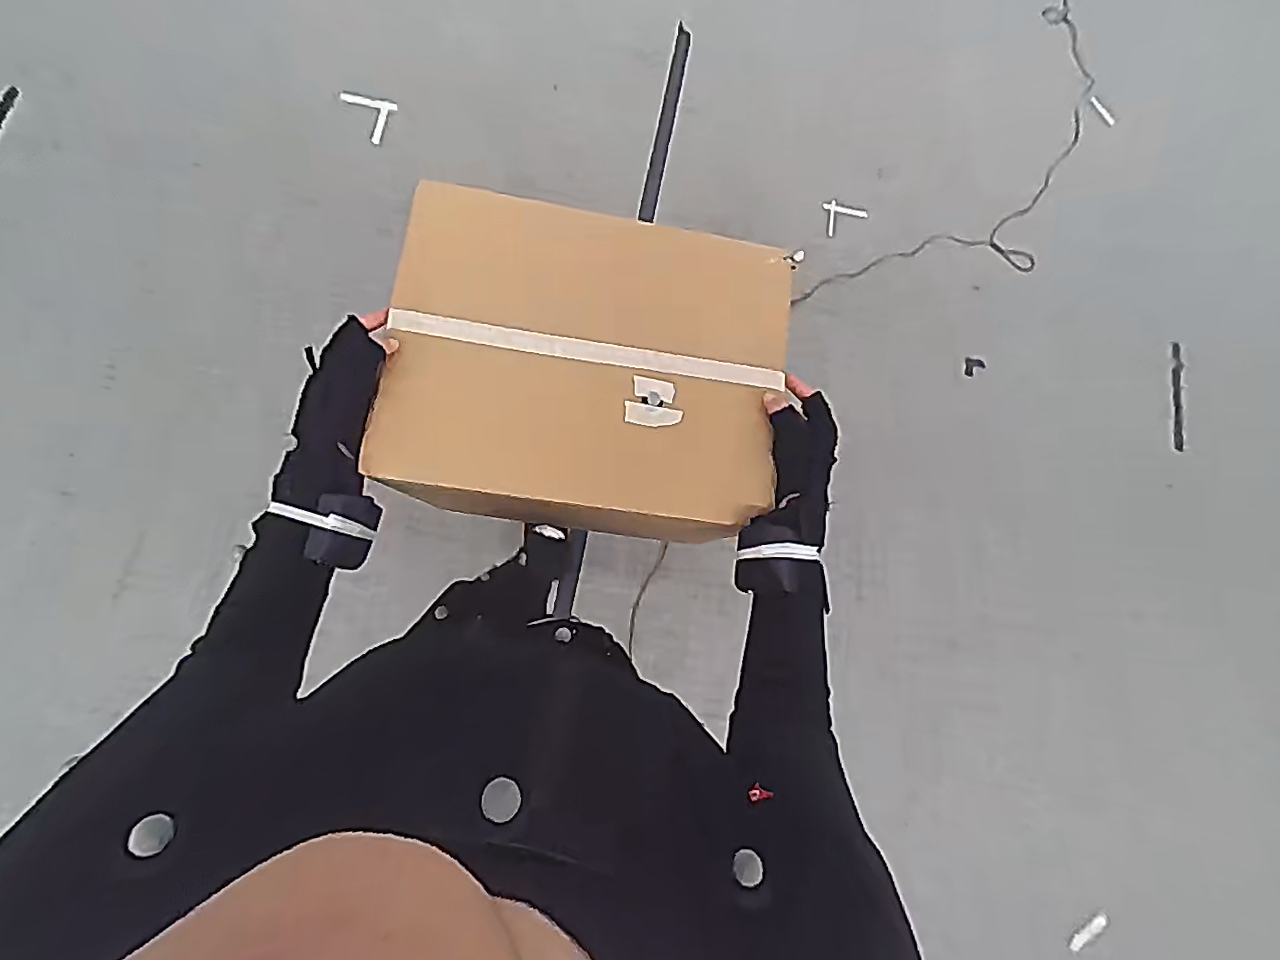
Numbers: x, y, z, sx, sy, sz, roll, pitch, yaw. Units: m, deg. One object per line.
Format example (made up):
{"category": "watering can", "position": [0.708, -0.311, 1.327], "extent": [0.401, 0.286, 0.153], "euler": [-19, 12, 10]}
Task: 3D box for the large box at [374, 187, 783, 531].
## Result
{"category": "large box", "position": [-0.070, -0.114, 0.712], "extent": [0.408, 0.320, 0.320], "euler": [8, 81, -7]}
